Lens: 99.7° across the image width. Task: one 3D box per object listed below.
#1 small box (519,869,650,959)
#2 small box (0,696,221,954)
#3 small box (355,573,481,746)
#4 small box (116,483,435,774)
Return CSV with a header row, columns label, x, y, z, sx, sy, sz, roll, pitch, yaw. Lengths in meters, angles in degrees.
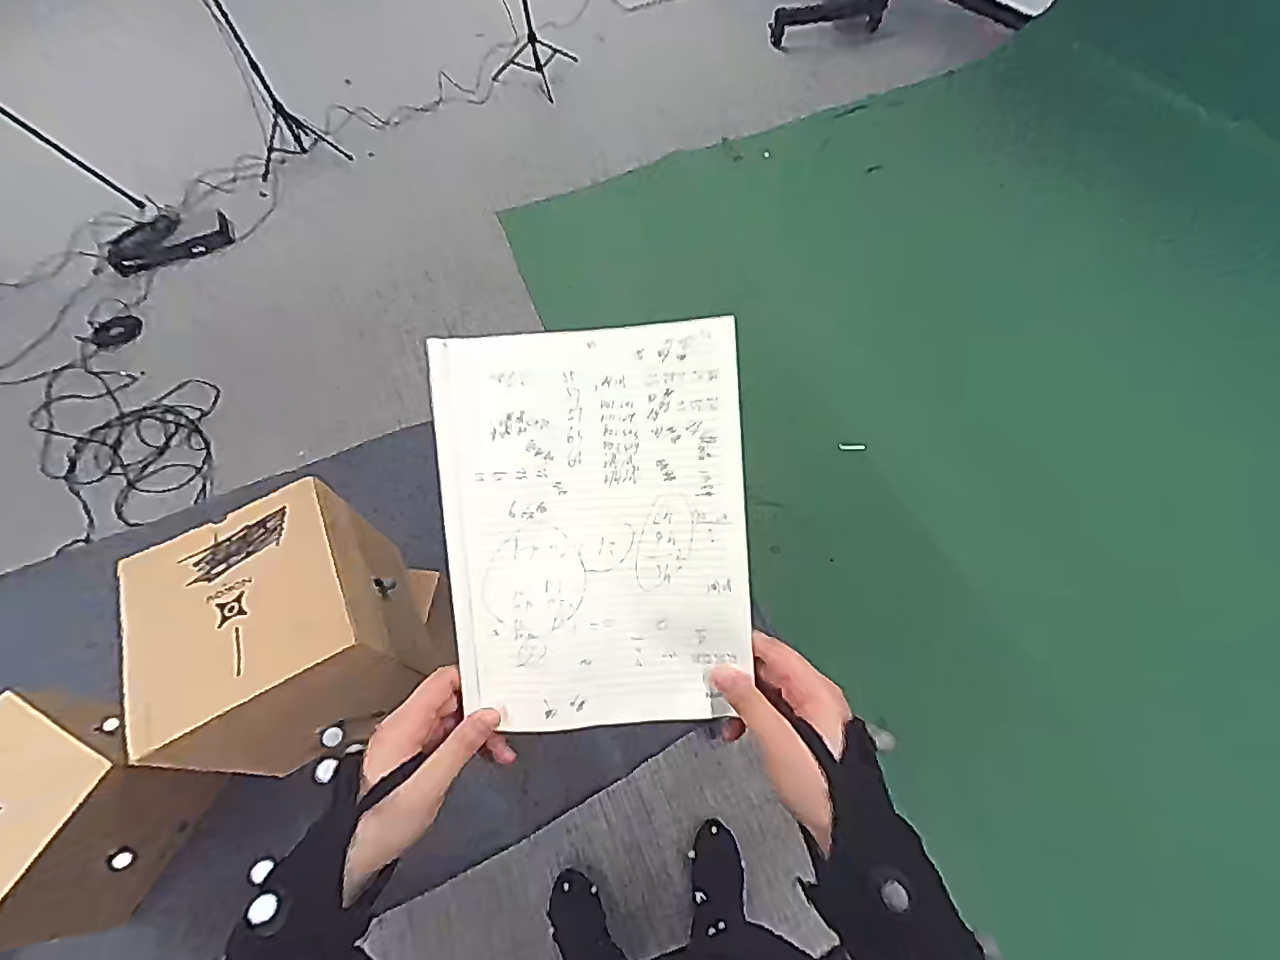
label,x,y,z,sx,sy,sz,roll,pitch,yaw
small box,-0.103,0.896,1.042,0.176,0.168,0.179,39,40,-6
small box,-0.615,0.357,0.578,0.179,0.176,0.168,19,62,16
small box,-0.309,0.213,0.639,0.179,0.176,0.168,1,59,7
small box,-0.314,0.140,0.491,0.168,0.176,0.179,-27,61,-10
